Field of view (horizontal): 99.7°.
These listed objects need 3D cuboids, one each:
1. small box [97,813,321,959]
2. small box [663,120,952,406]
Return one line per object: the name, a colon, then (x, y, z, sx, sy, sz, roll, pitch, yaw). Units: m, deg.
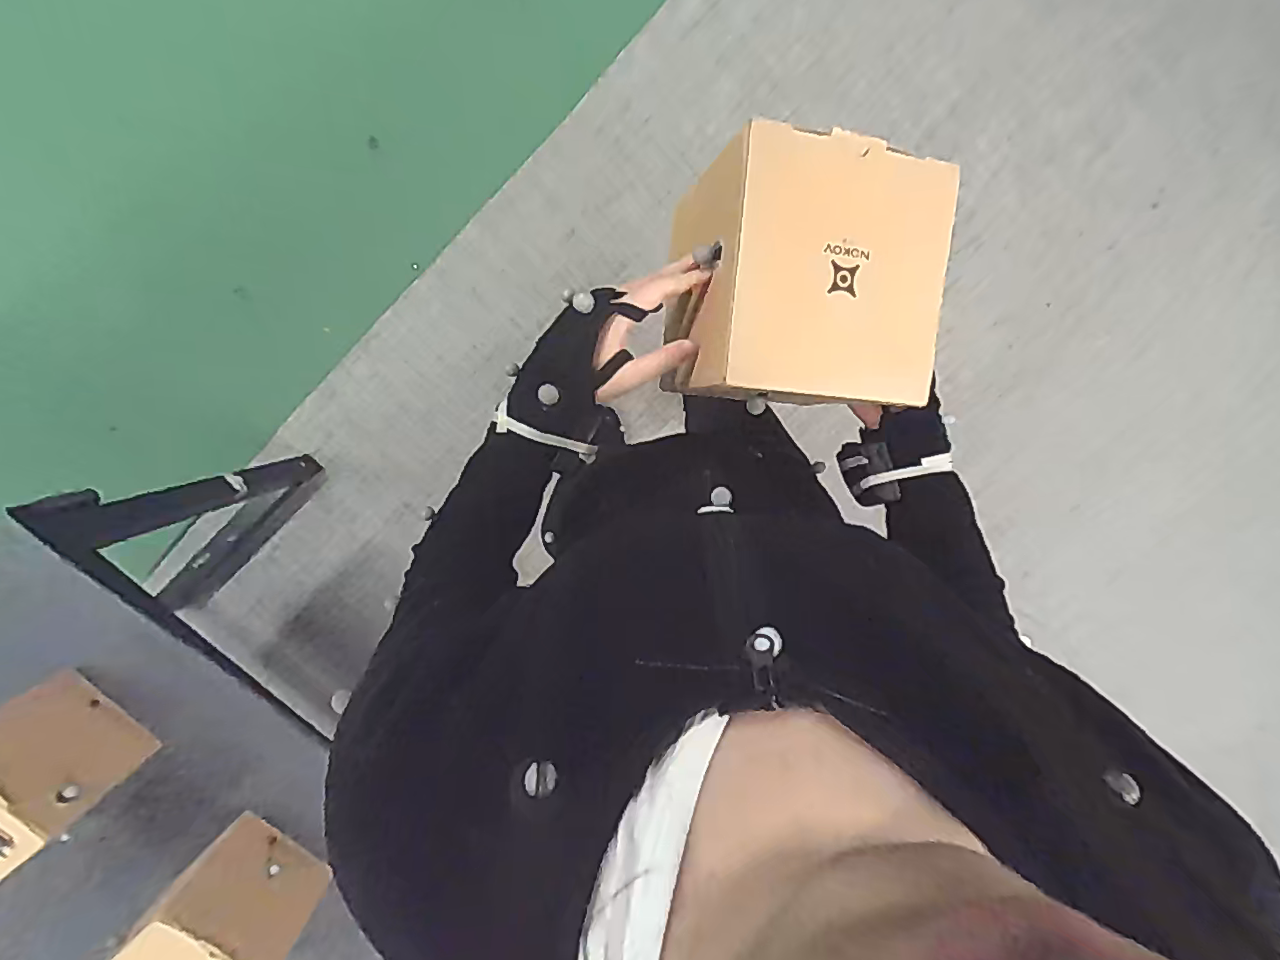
small box: (-0.591, 0.618, 0.746, 0.179, 0.176, 0.168, -44, 100, 5)
small box: (0.122, -0.157, 0.460, 0.168, 0.176, 0.179, 3, 96, -14)
